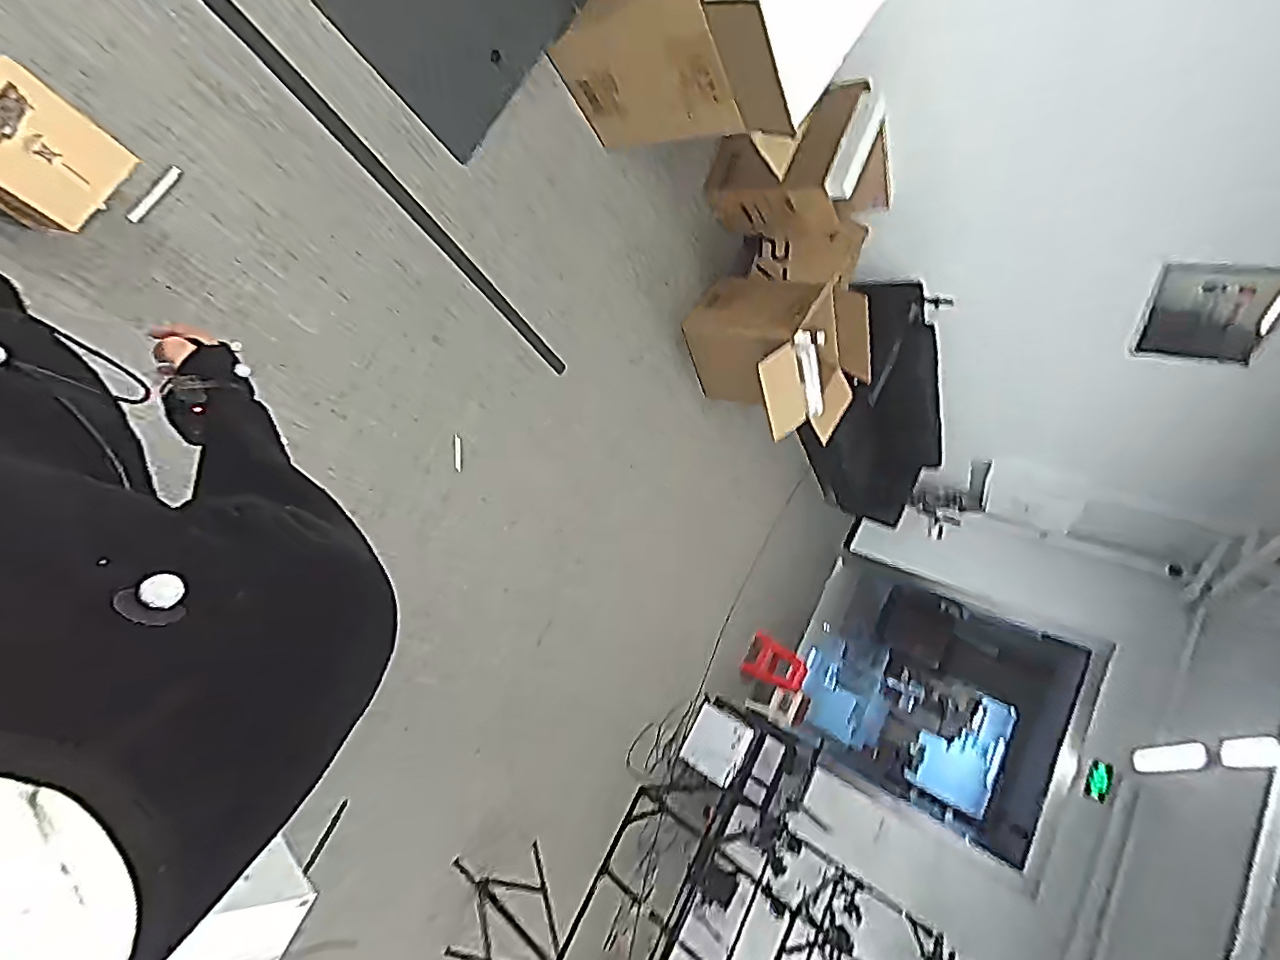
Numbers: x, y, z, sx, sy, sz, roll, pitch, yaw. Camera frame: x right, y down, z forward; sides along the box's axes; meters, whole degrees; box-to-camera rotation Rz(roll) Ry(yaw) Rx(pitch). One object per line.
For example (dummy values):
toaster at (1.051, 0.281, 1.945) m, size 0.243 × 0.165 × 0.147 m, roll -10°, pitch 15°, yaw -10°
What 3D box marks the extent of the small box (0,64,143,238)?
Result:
small box at (-0.975, -0.515, 0.872) m, size 0.168 × 0.176 × 0.179 m, roll -61°, pitch 145°, yaw -13°
